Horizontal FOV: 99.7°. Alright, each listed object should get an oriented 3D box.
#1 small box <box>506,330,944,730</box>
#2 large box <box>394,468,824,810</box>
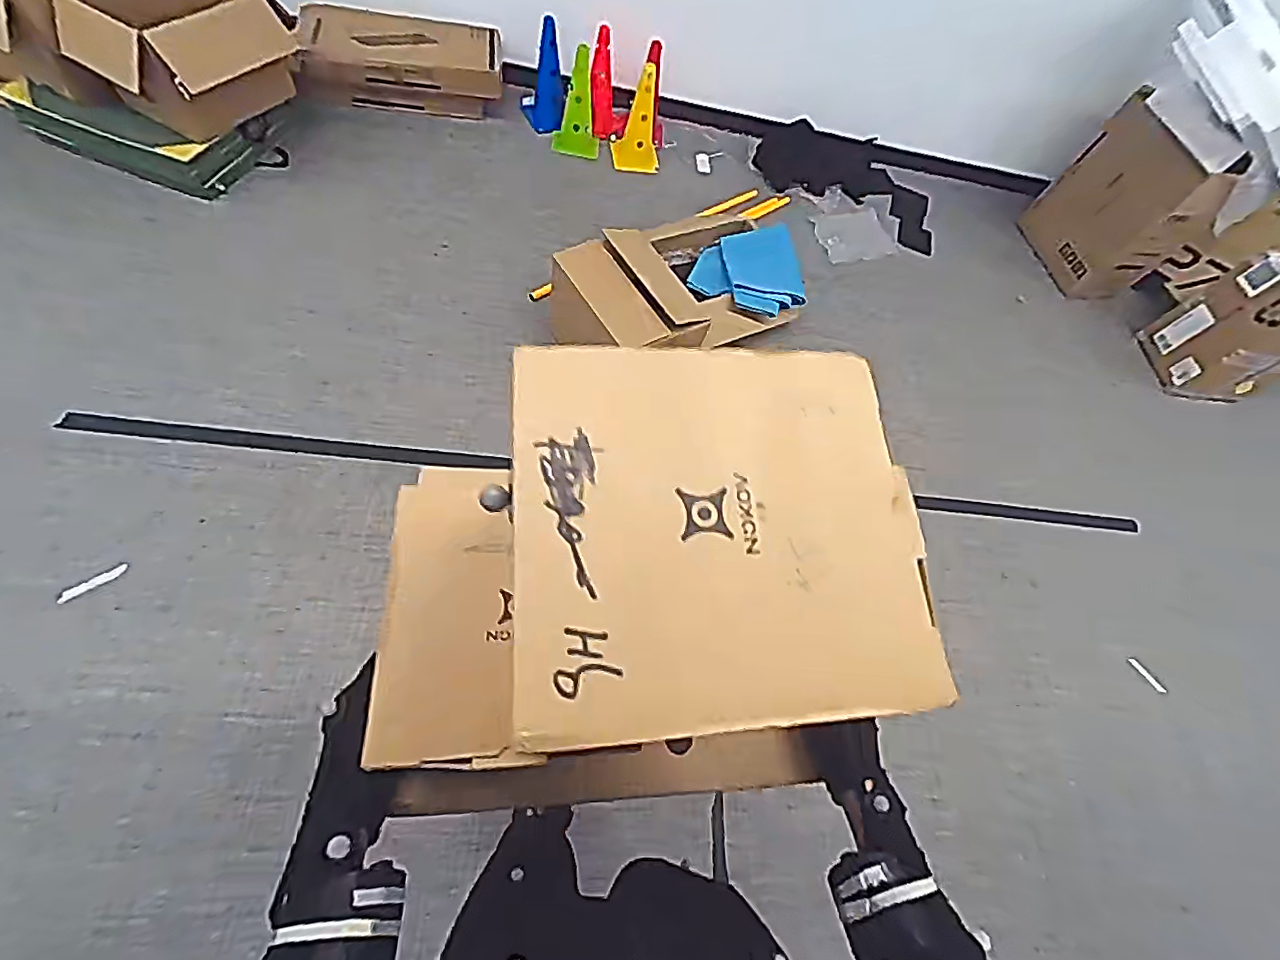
[{"bbox_3d":[0.019,0.040,0.302,0.179,0.176,0.168,0,68,-11],"label":"small box"},{"bbox_3d":[-0.053,0.191,0.675,0.408,0.320,0.320,2,68,-12],"label":"large box"}]
